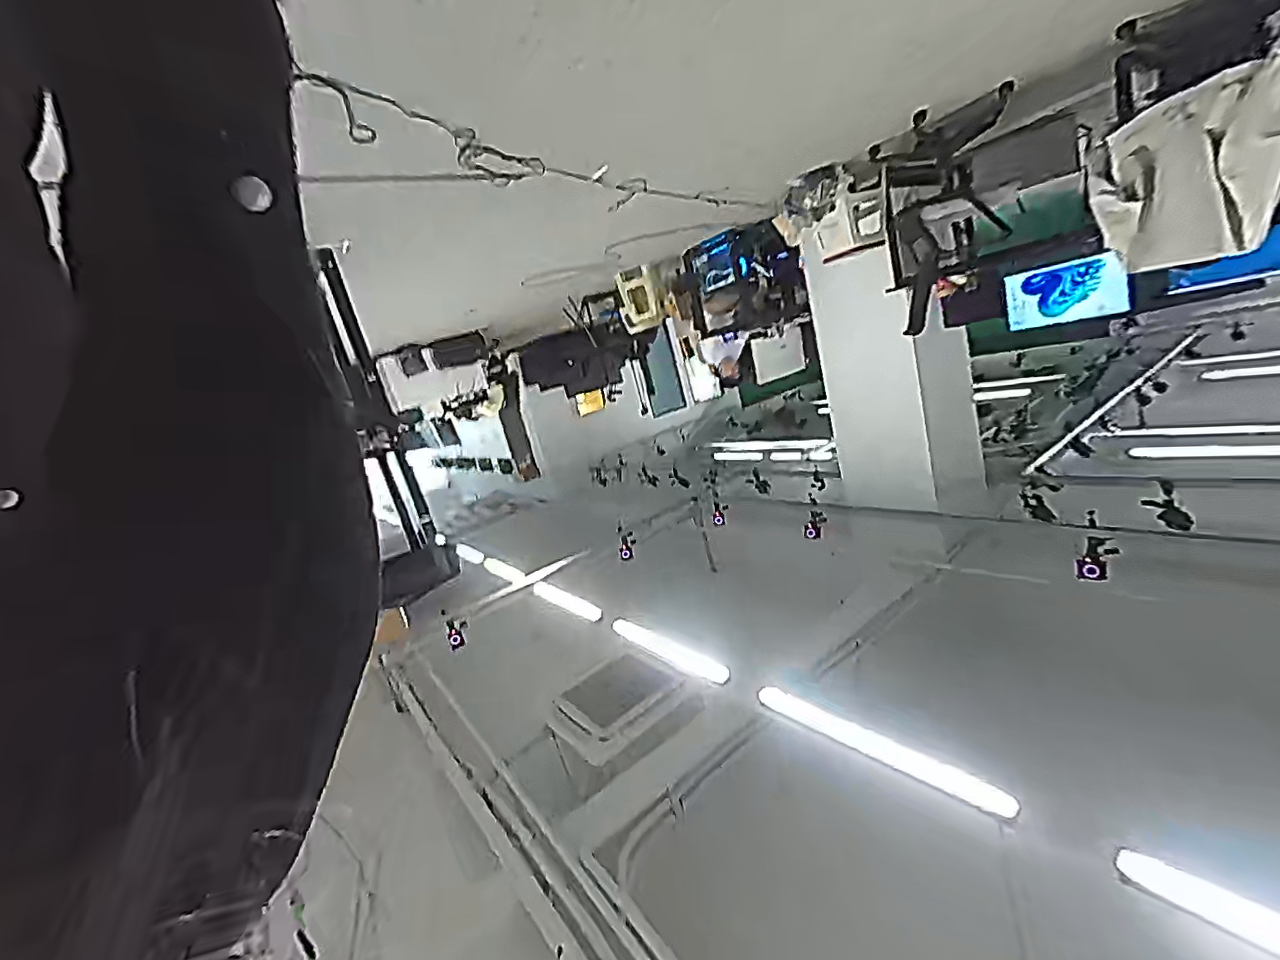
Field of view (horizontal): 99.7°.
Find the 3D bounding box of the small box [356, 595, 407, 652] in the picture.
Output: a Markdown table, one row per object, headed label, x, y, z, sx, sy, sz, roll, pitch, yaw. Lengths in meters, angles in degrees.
| label | x | y | z | sx | sy | sz | roll | pitch | yaw |
| --- | --- | --- | --- | --- | --- | --- | --- | --- | --- |
| small box | -1.172 | 0.641 | 2.448 | 0.168 | 0.176 | 0.179 | -22 | -165 | -24 |
